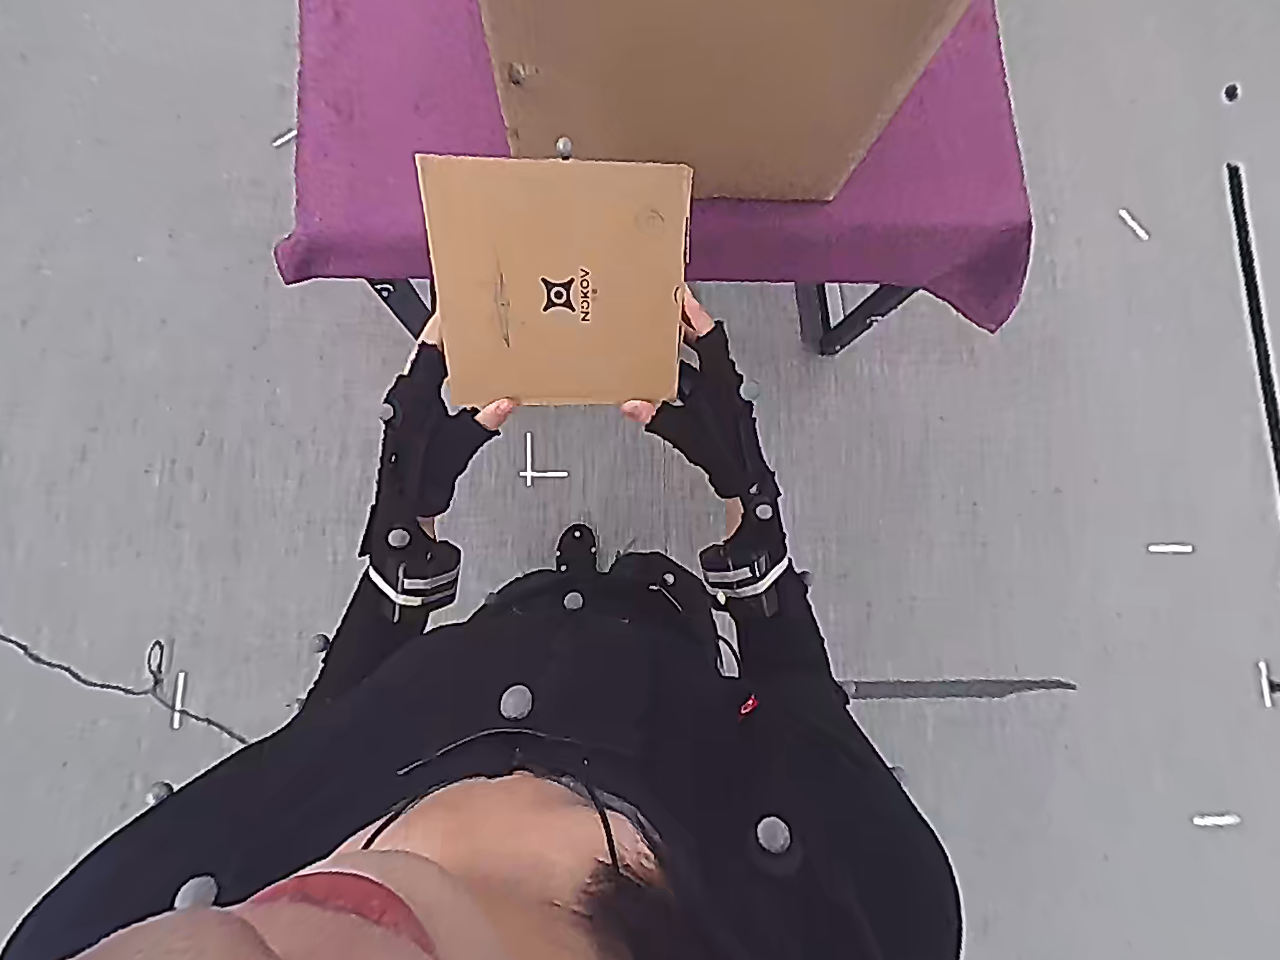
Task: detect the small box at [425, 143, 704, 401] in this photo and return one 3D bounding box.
[{"bbox_3d":[-0.057,-0.171,0.441,0.179,0.176,0.168,-2,118,-6],"label":"small box"}]
